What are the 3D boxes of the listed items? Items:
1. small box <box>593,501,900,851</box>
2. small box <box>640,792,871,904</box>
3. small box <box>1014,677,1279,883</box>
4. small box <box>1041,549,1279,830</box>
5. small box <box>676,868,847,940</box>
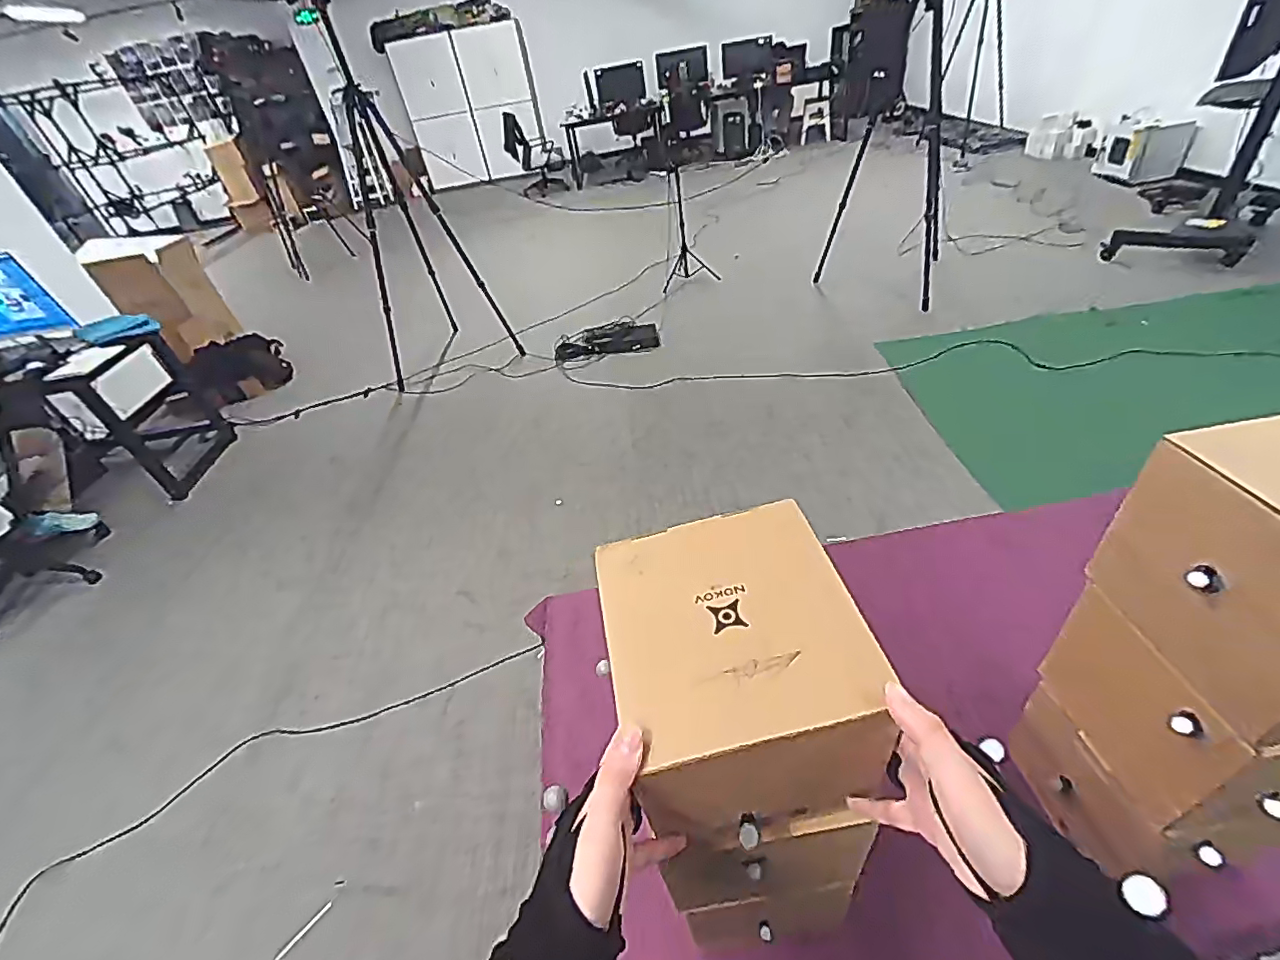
[{"bbox_3d":[0.066,0.147,0.415,0.168,0.176,0.179,-14,42,-1],"label":"small box"},{"bbox_3d":[0.093,0.275,0.515,0.179,0.176,0.168,-10,41,0],"label":"small box"},{"bbox_3d":[0.561,0.322,0.607,0.179,0.176,0.168,-12,39,1],"label":"small box"},{"bbox_3d":[0.532,0.194,0.510,0.168,0.176,0.179,-10,40,1],"label":"small box"},{"bbox_3d":[0.120,0.399,0.621,0.168,0.176,0.179,-10,39,1],"label":"small box"}]
